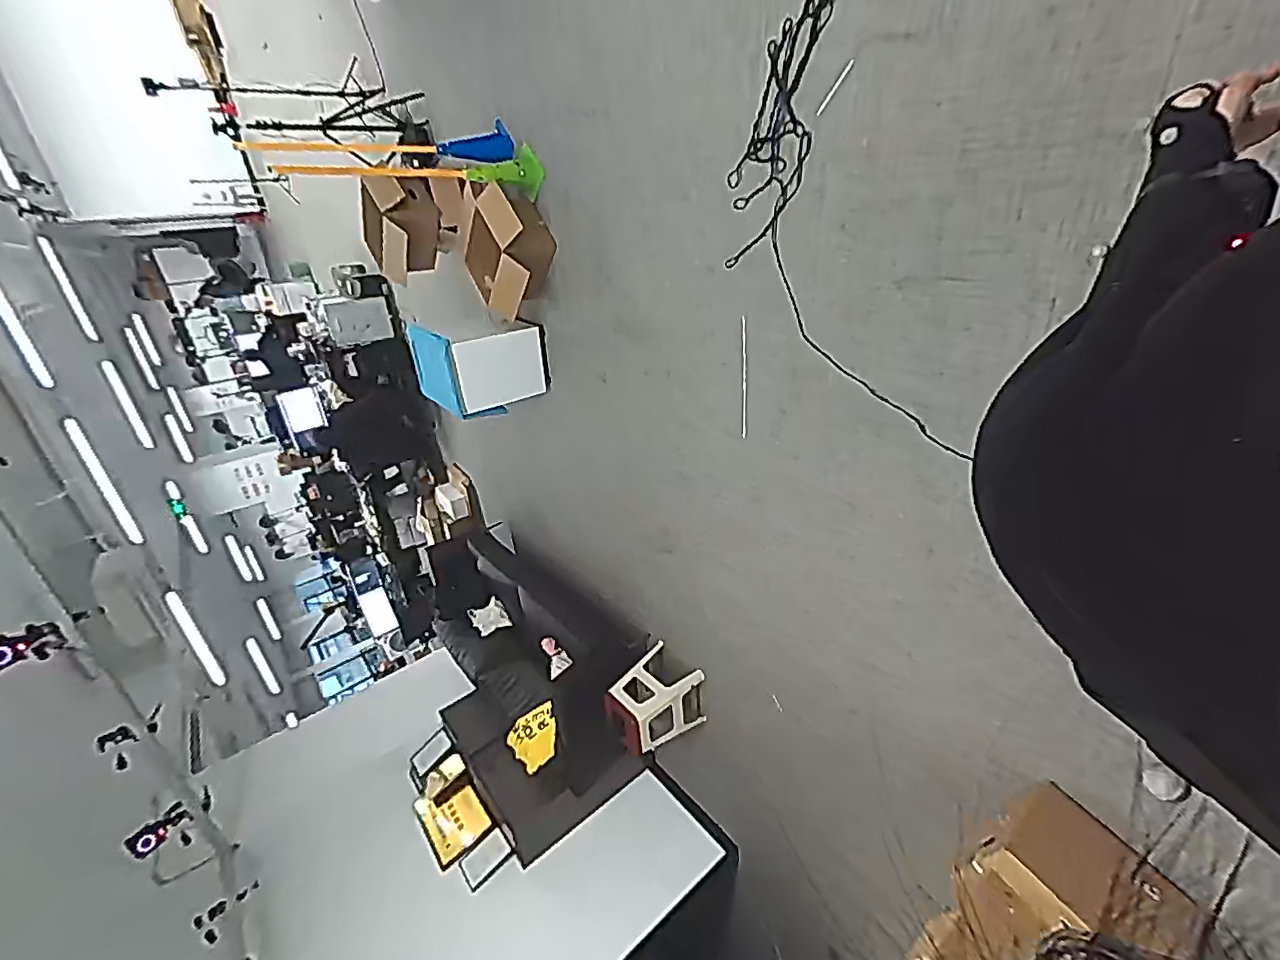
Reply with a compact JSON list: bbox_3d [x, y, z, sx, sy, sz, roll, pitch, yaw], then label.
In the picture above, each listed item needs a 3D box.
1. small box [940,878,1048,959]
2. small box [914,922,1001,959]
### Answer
[{"bbox_3d":[0.970,1.247,1.485,0.168,0.176,0.179,43,142,33],"label":"small box"},{"bbox_3d":[0.838,1.297,1.406,0.179,0.176,0.168,44,142,31],"label":"small box"}]
